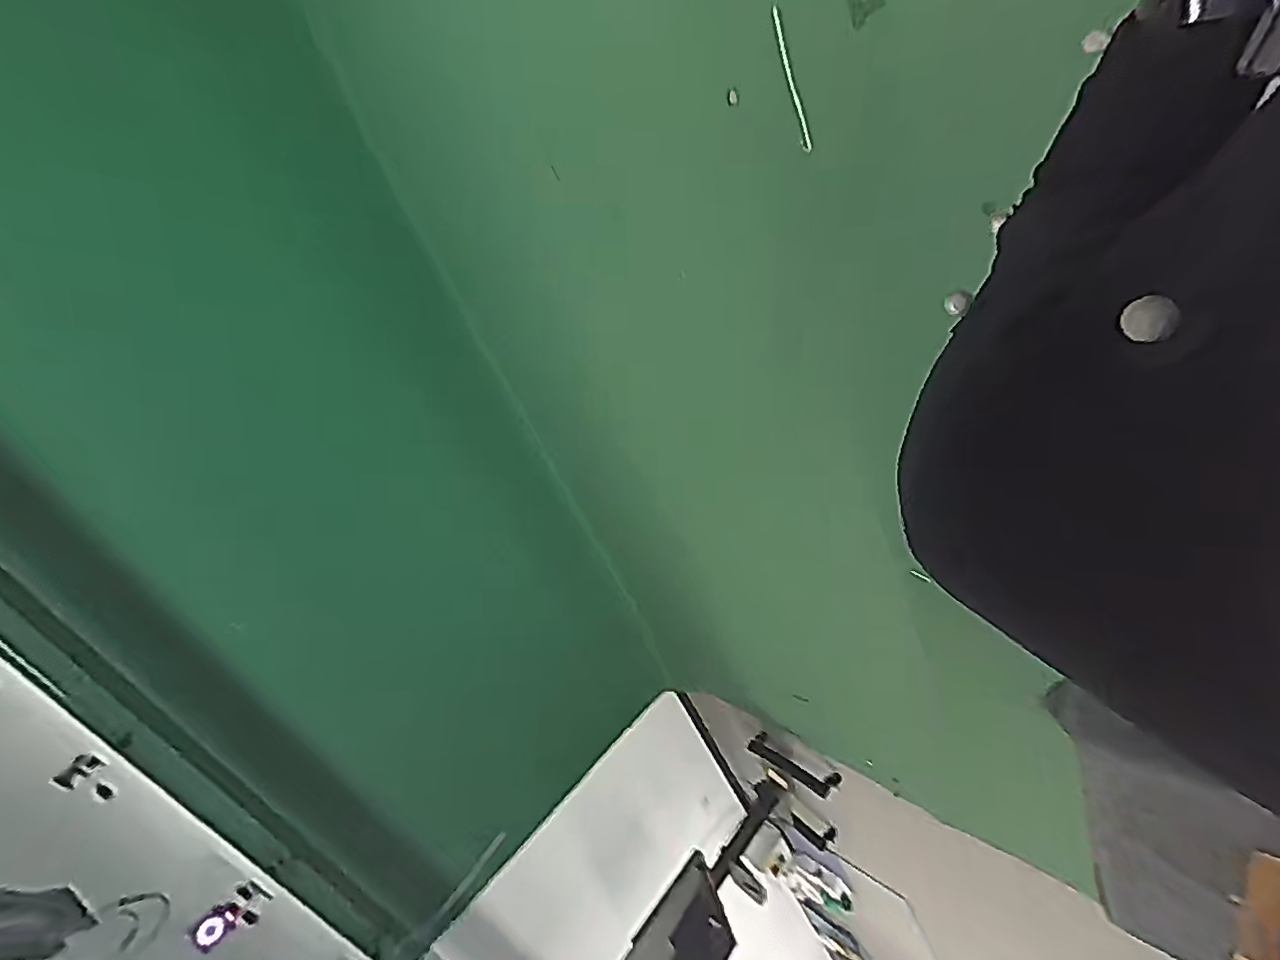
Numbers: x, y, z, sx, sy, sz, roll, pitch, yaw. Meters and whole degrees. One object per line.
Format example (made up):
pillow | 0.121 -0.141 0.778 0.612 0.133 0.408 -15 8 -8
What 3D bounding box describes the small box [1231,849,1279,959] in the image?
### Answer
small box | 0.955 0.675 0.753 0.168 0.176 0.179 8 131 51
